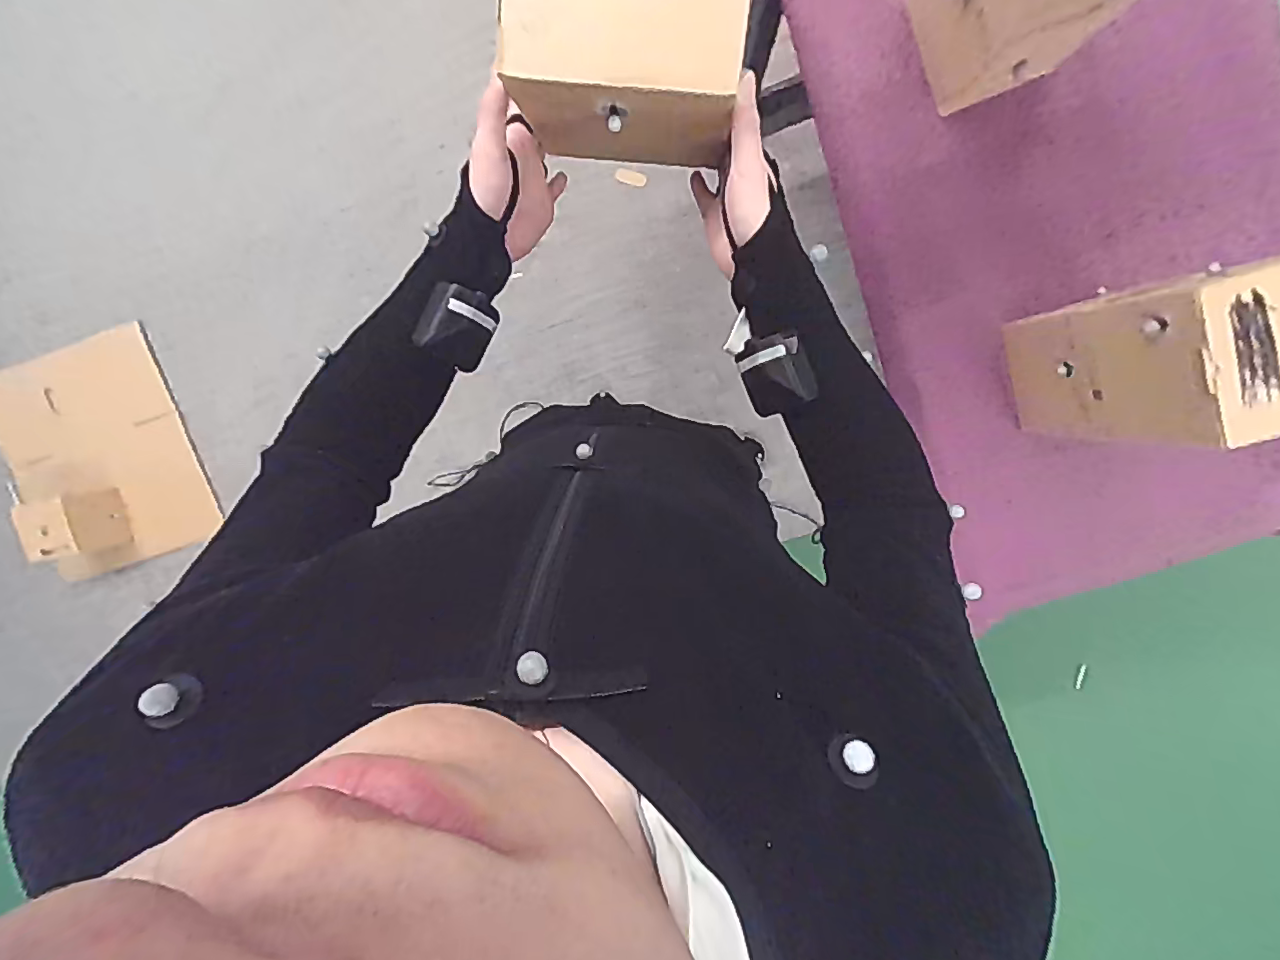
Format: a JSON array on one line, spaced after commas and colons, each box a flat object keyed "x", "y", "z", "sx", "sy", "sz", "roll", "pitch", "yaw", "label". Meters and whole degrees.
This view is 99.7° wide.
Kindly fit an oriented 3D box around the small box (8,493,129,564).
[{"x": -1.718, "y": 0.140, "z": 1.637, "sx": 0.168, "sy": 0.176, "sz": 0.179, "roll": -9, "pitch": 98, "yaw": 4, "label": "small box"}]

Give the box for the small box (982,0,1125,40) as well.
[{"x": 0.468, "y": -0.600, "z": 0.549, "sx": 0.168, "sy": 0.176, "sz": 0.179, "roll": -19, "pitch": 97, "yaw": 5, "label": "small box"}]

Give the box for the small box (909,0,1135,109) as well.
[{"x": 0.489, "y": -0.632, "z": 0.711, "sx": 0.168, "sy": 0.176, "sz": 0.179, "roll": -21, "pitch": 96, "yaw": 6, "label": "small box"}]

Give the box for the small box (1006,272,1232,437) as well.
[{"x": 0.662, "y": -0.169, "z": 0.770, "sx": 0.168, "sy": 0.176, "sz": 0.179, "roll": -16, "pitch": 98, "yaw": 5, "label": "small box"}]

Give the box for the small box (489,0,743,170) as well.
[{"x": -0.008, "y": -0.373, "z": 0.442, "sx": 0.179, "sy": 0.176, "sz": 0.168, "roll": 6, "pitch": 104, "yaw": 2, "label": "small box"}]
